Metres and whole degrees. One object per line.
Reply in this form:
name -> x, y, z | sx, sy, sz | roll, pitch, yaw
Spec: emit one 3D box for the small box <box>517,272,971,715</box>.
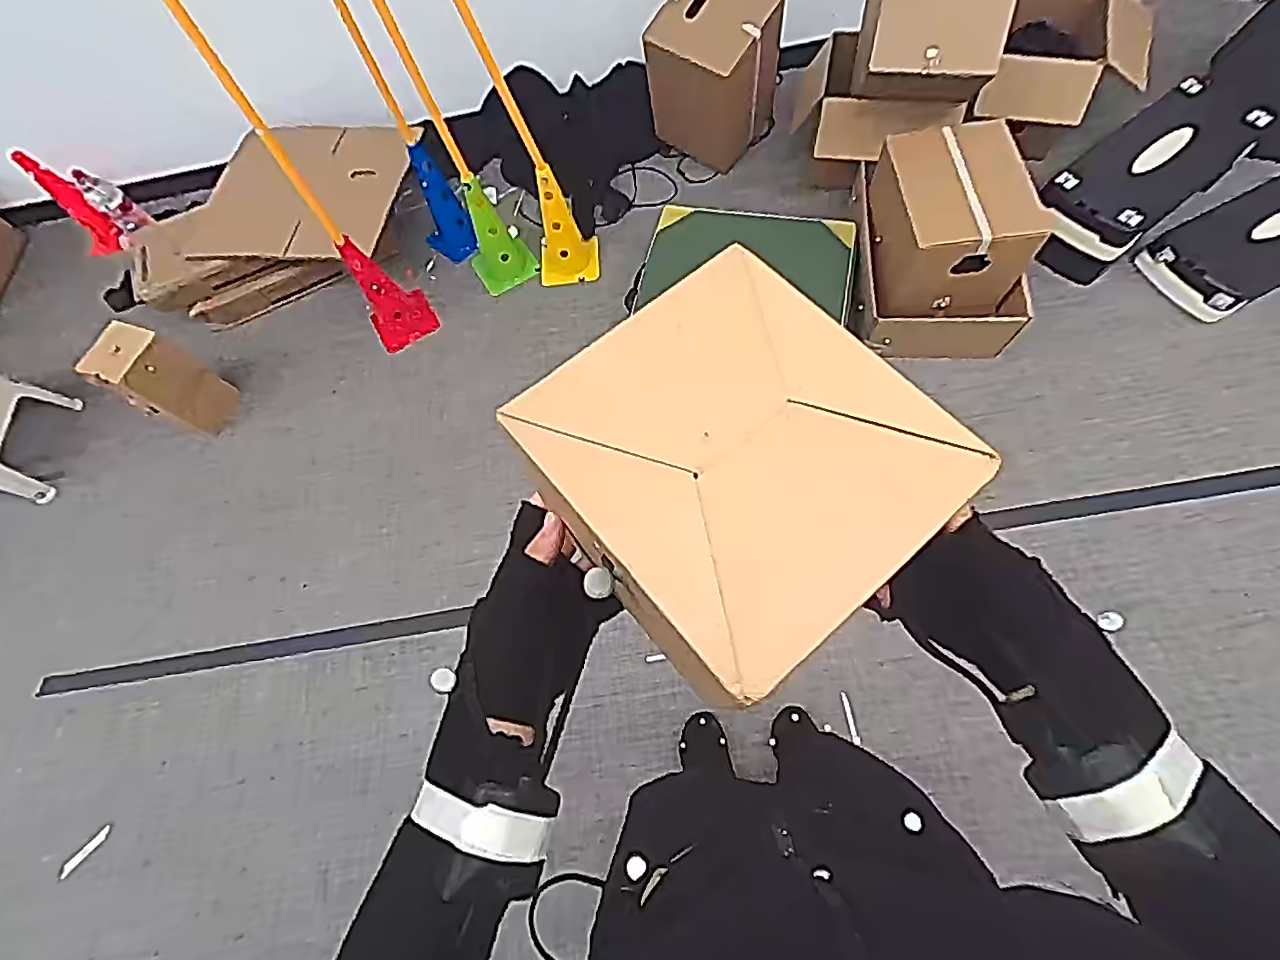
small box -> 0.044, 0.015, 0.325 | 0.168, 0.176, 0.179 | -36, 71, -12
